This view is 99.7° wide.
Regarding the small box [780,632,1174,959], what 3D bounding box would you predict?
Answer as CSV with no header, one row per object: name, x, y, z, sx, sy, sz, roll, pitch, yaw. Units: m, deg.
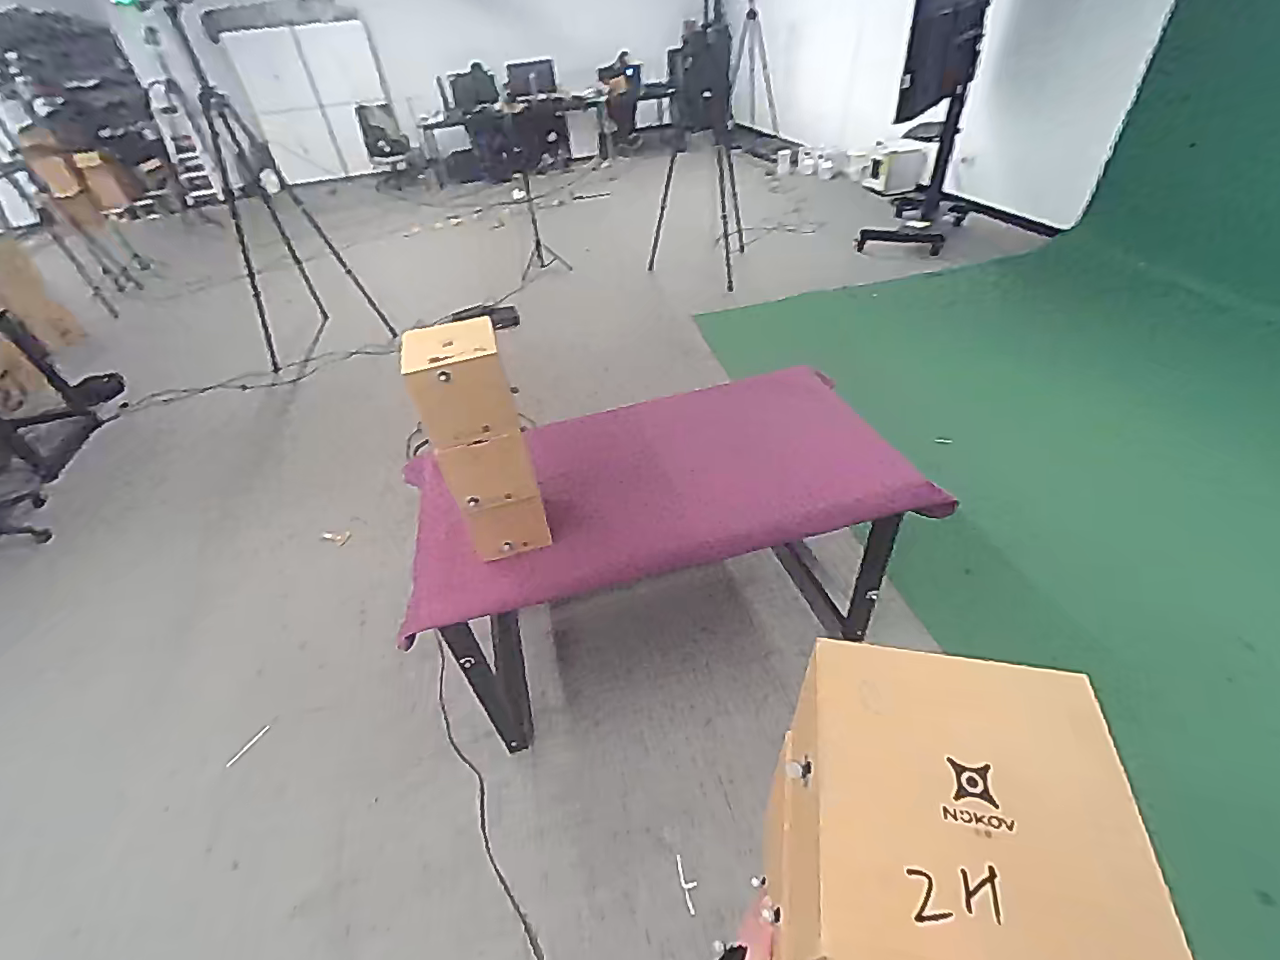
small box,0.186,0.230,0.360,0.168,0.176,0.179,4,47,13

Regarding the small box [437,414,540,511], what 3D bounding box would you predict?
small box,-0.317,-0.053,1.138,0.168,0.176,0.179,-15,40,-8

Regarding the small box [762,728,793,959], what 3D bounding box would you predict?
small box,0.198,0.348,0.475,0.168,0.176,0.179,4,47,12

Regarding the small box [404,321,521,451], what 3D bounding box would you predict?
small box,-0.335,-0.181,1.037,0.168,0.176,0.179,-16,40,-9

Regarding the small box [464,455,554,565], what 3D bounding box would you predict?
small box,-0.304,0.066,1.251,0.168,0.176,0.179,-15,42,-8
